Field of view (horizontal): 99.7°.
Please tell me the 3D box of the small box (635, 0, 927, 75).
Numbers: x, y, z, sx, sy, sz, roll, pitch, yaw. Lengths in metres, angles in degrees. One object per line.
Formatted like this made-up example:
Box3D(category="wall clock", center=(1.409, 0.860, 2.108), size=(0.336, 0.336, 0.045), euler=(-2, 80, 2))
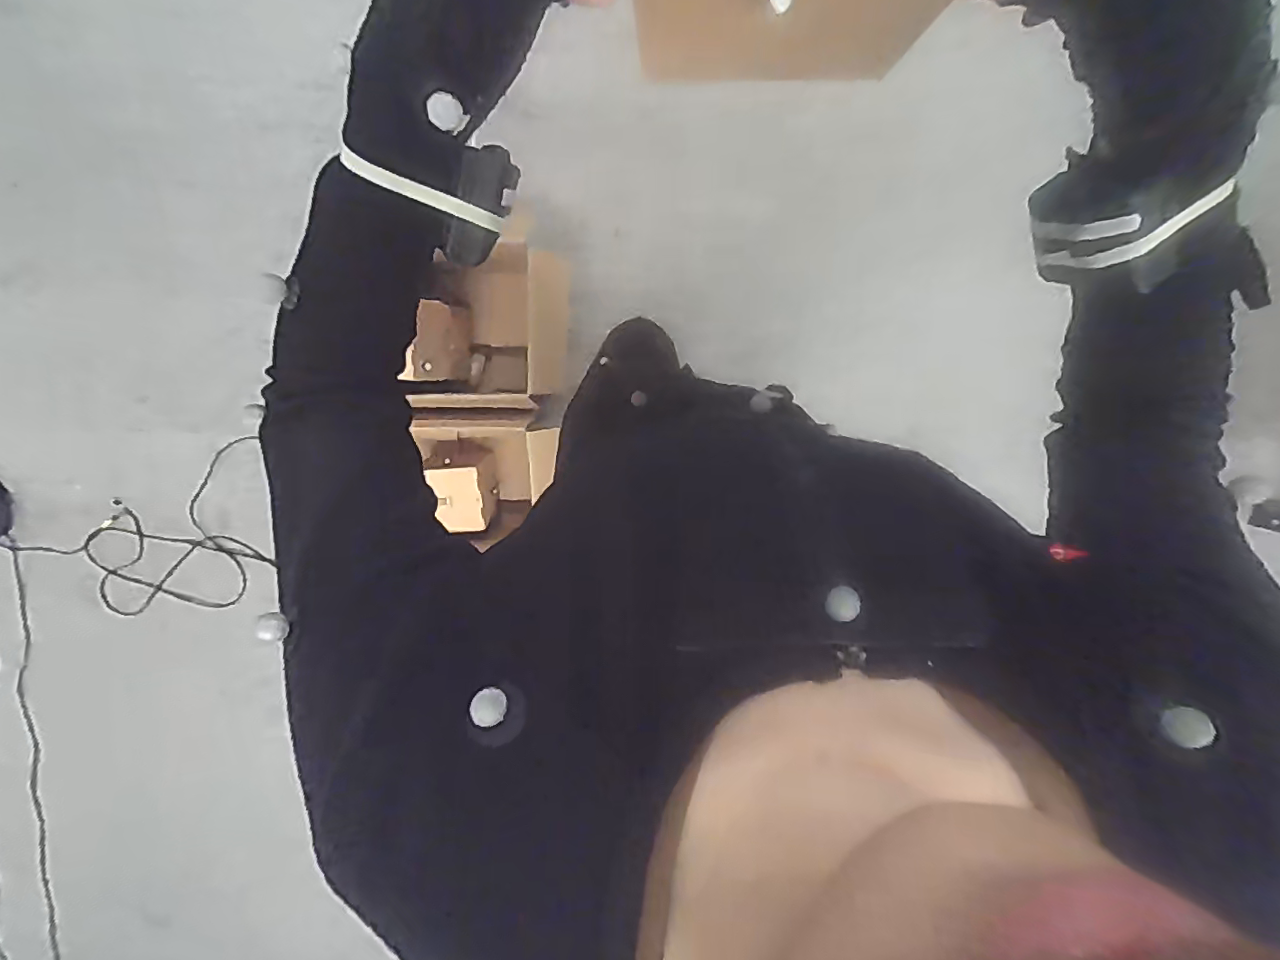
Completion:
Box3D(category="small box", center=(0.084, -0.346, 0.290), size=(0.179, 0.176, 0.168), euler=(1, 107, 2))
